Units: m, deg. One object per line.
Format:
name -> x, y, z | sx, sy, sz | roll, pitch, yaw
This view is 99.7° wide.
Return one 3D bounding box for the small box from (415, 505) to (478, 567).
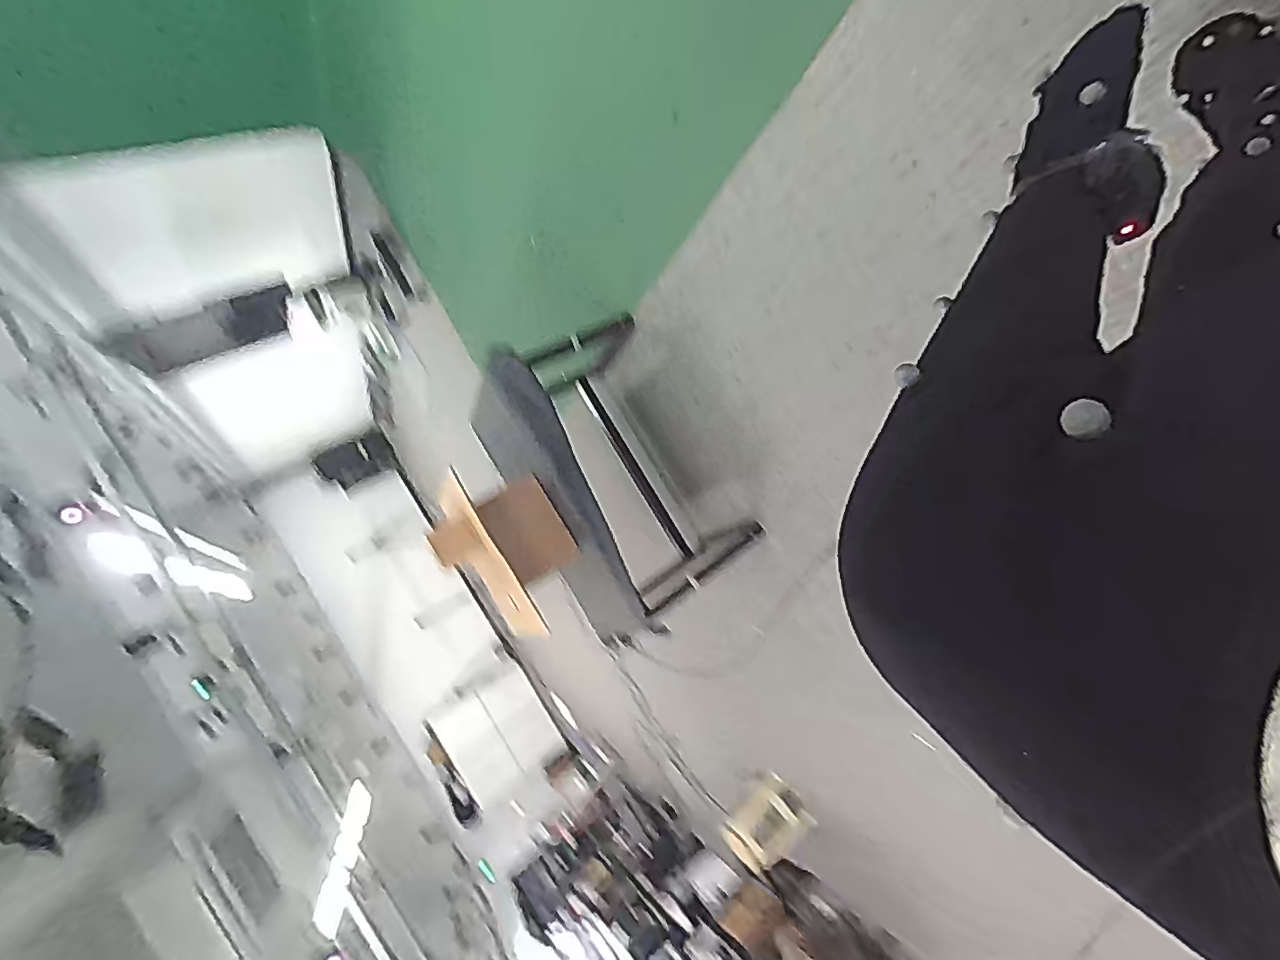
small box -> -0.745, 0.213, 2.084 | 0.168, 0.176, 0.179 | 60, 152, 2
